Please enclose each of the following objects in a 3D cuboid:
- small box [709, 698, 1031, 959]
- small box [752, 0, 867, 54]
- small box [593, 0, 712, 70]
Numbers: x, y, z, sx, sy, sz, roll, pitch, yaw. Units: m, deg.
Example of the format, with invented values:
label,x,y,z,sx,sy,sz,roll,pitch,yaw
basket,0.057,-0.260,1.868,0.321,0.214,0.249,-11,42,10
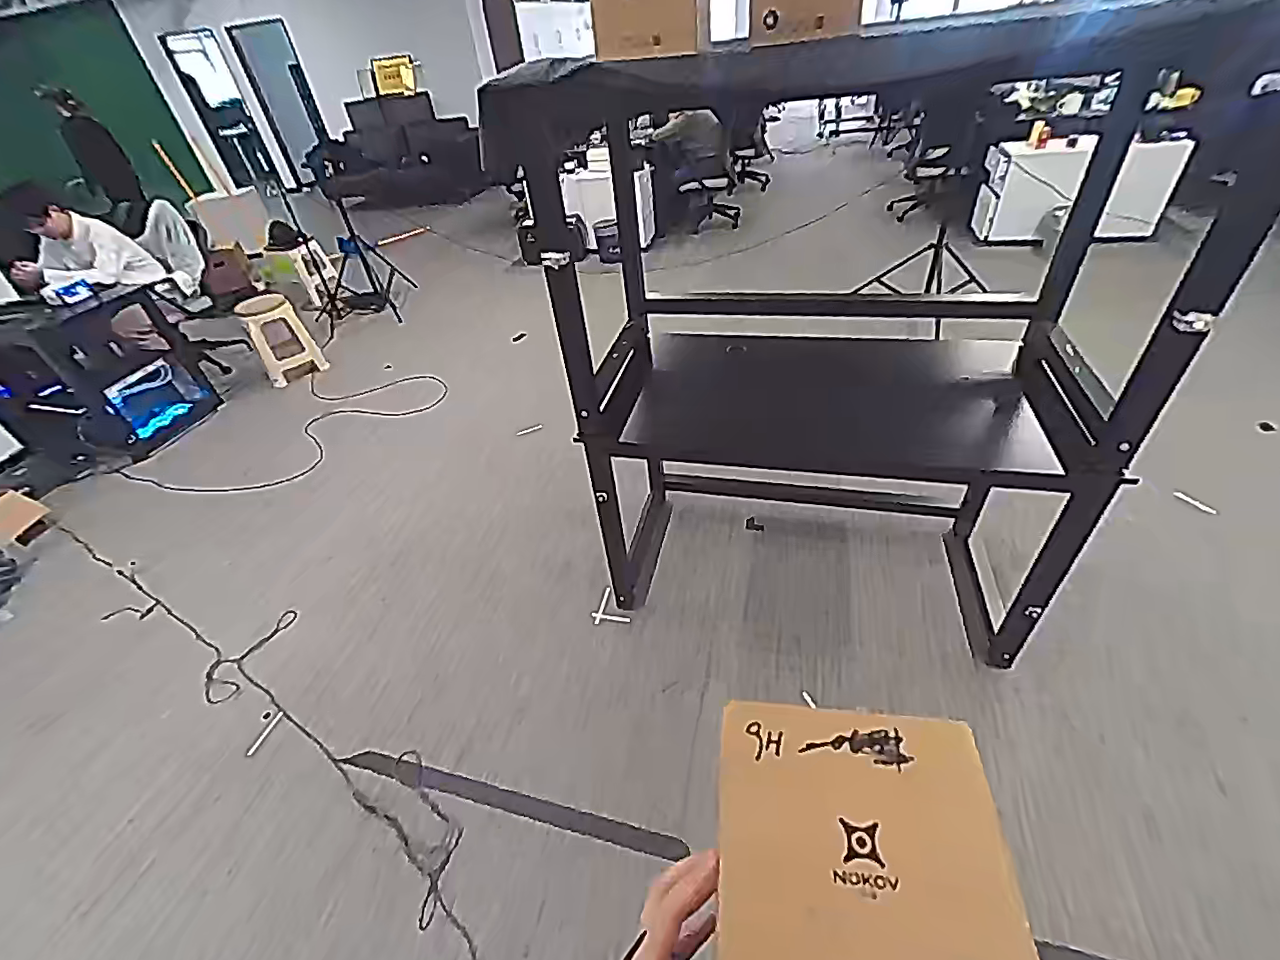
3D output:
label,x,y,z,sx,sy,sz,roll,pitch,yaw
small box,0.134,0.276,0.373,0.168,0.176,0.179,3,47,8
small box,0.265,-0.772,0.831,0.168,0.176,0.179,6,39,16
small box,0.025,-0.777,0.875,0.168,0.176,0.179,6,39,14
